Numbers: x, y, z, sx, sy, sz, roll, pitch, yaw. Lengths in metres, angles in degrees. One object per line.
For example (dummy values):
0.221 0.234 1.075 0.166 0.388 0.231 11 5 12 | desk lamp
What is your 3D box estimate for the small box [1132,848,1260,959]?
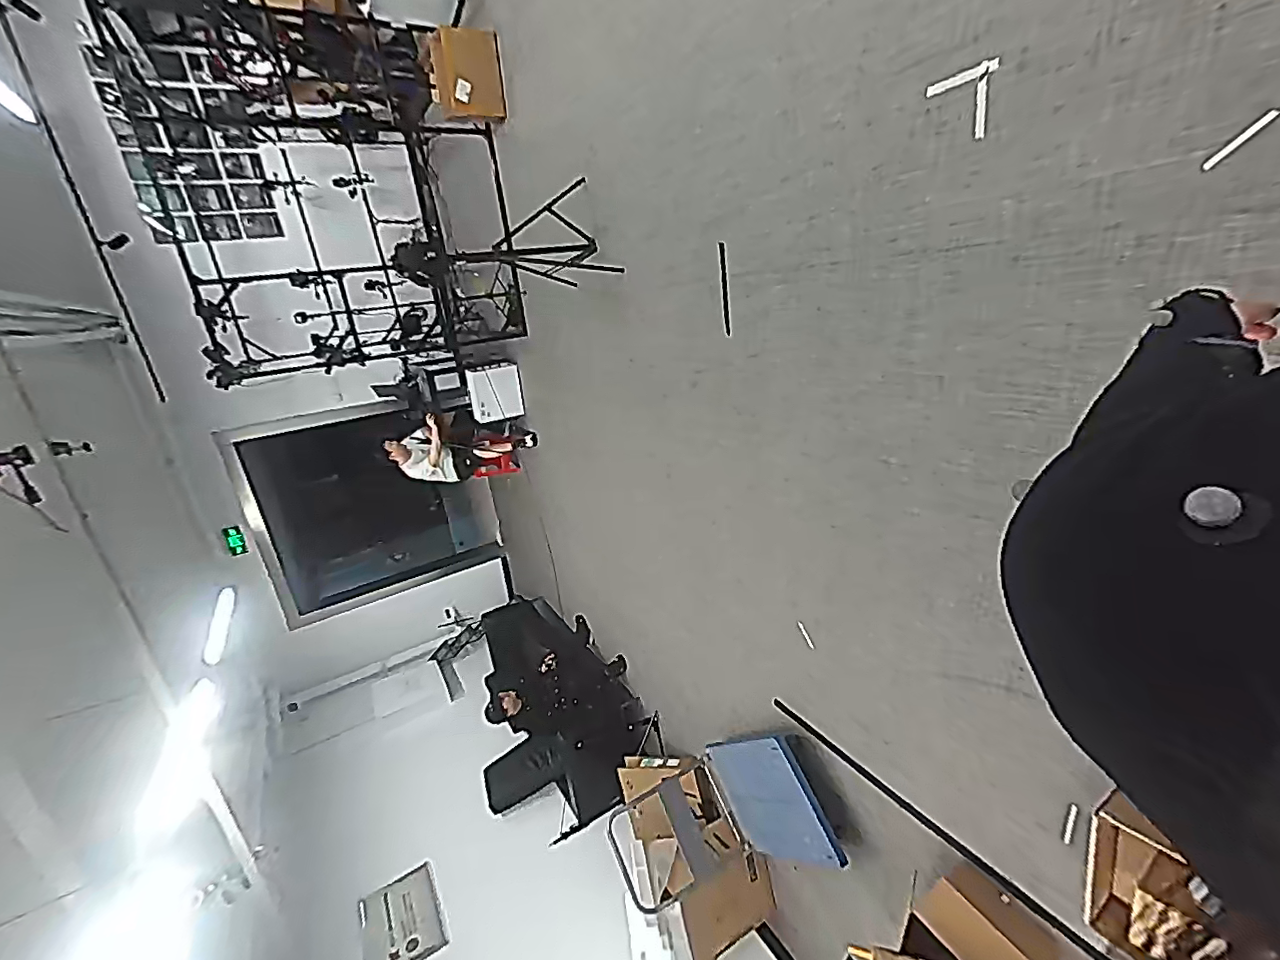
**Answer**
1.292 1.021 1.259 0.168 0.176 0.179 17 120 57 | small box
